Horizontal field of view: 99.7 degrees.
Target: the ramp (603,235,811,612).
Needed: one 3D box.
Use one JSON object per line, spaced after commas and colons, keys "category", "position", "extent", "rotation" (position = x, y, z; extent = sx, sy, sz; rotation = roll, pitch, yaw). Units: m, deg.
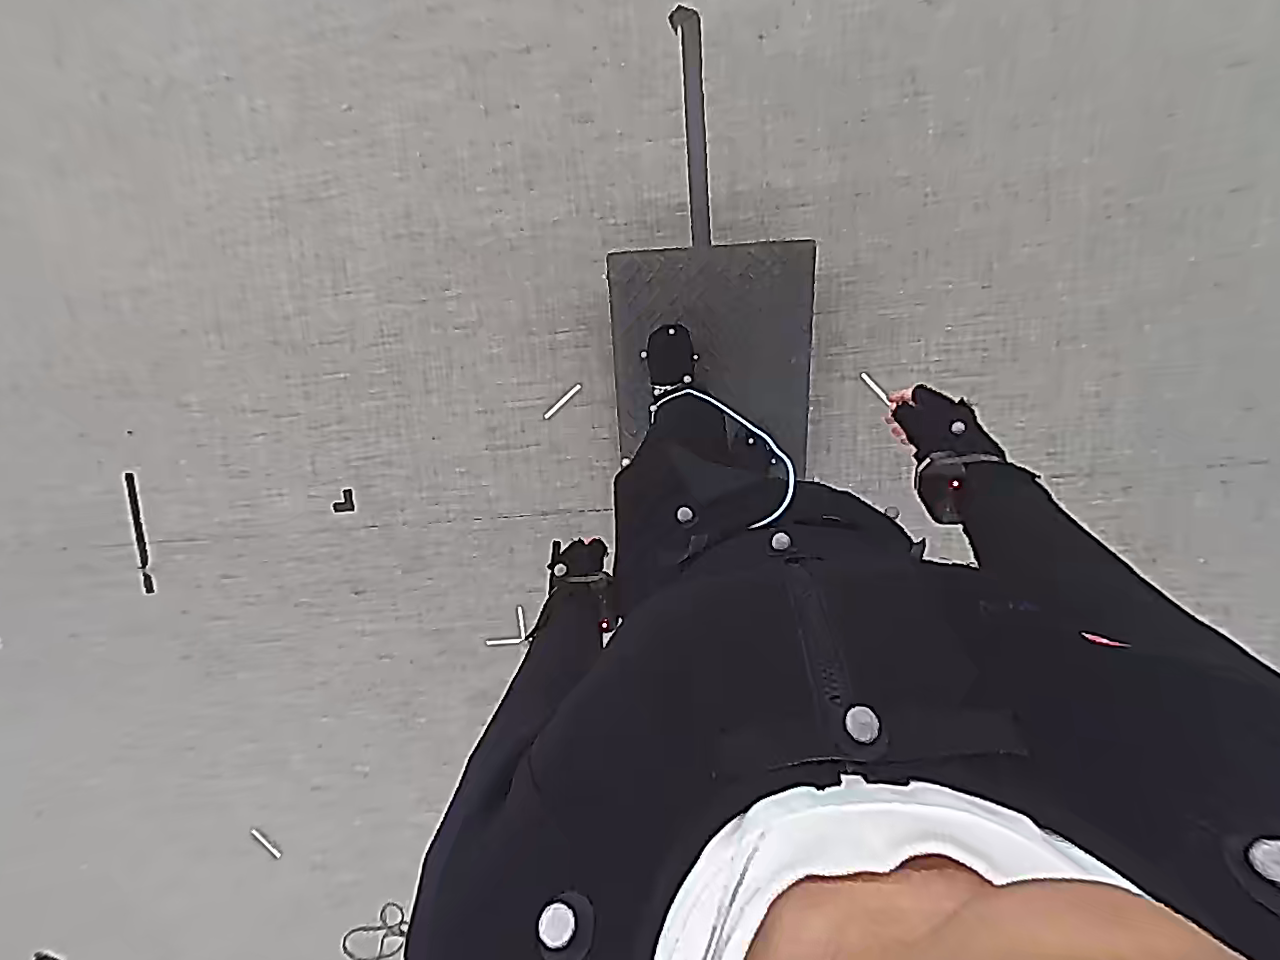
{"category": "ramp", "position": [0.186, -0.087, 1.425], "extent": [0.509, 0.206, 0.991], "rotation": [-3, 99, 5]}
